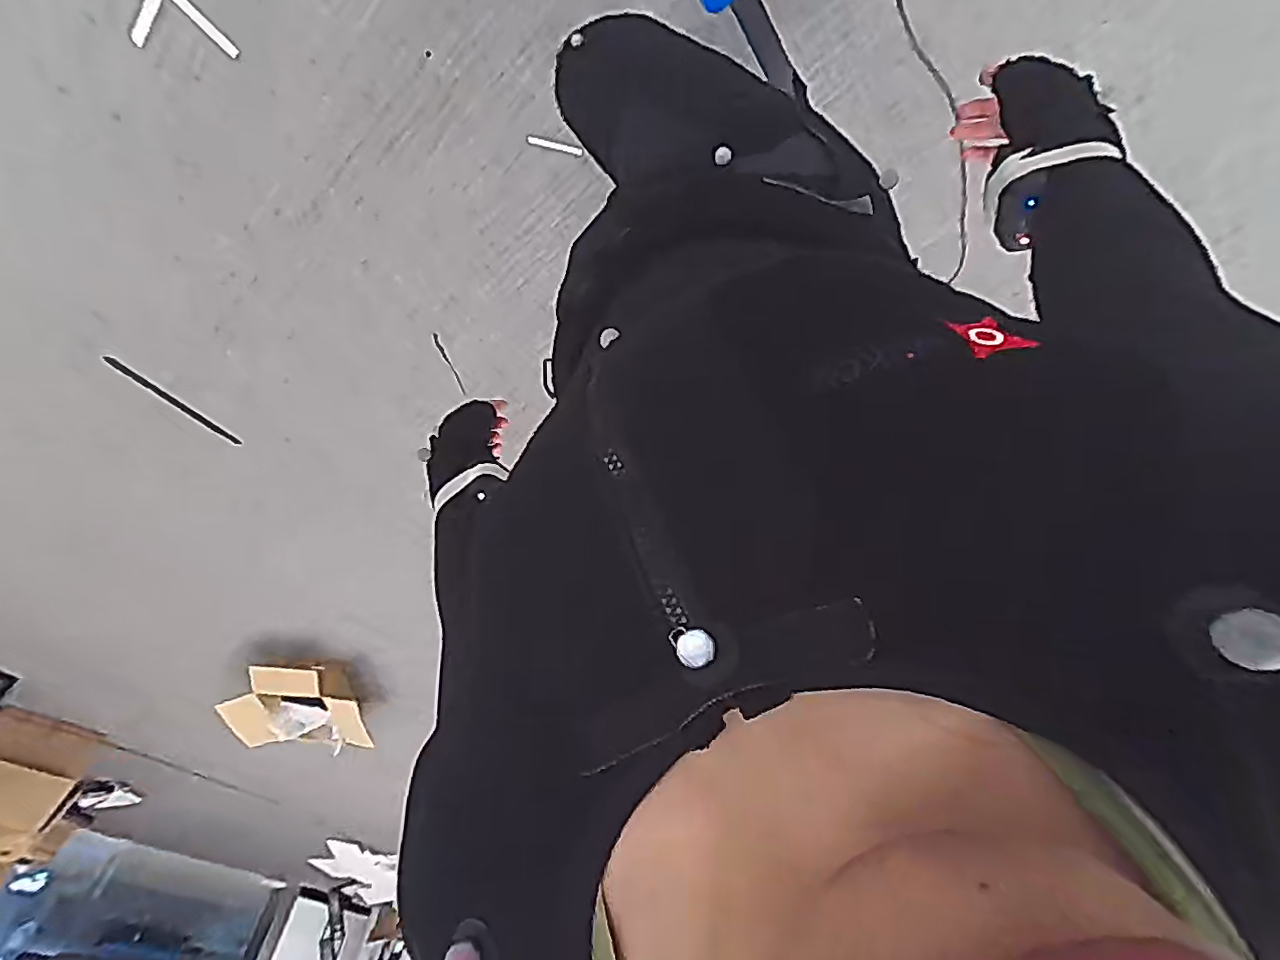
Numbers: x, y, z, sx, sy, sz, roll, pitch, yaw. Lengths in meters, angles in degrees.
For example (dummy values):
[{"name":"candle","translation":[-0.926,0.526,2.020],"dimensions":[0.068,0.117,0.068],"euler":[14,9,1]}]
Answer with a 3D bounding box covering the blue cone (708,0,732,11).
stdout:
[{"name":"blue cone","translation":[0.156,-0.854,0.791],"dimensions":[0.193,0.380,0.192],"euler":[-27,123,23]}]
